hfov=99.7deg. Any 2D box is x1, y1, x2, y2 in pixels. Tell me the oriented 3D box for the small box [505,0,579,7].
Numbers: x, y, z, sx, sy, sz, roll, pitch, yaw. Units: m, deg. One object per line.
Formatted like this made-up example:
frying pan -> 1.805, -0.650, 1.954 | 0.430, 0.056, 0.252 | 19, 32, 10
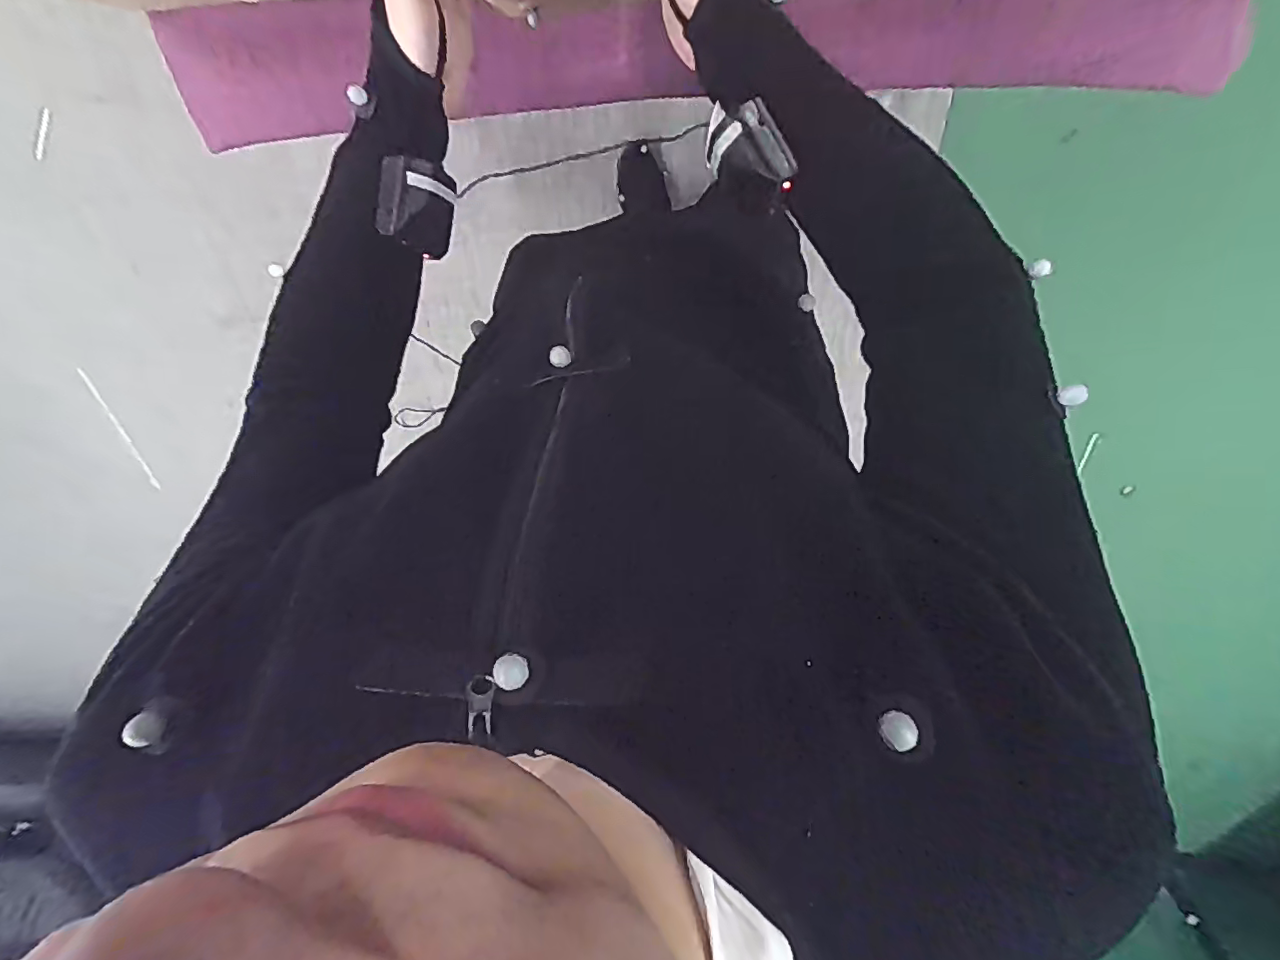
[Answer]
small box -> -0.065, -0.501, 0.423 | 0.168, 0.176, 0.179 | -2, 121, 5
